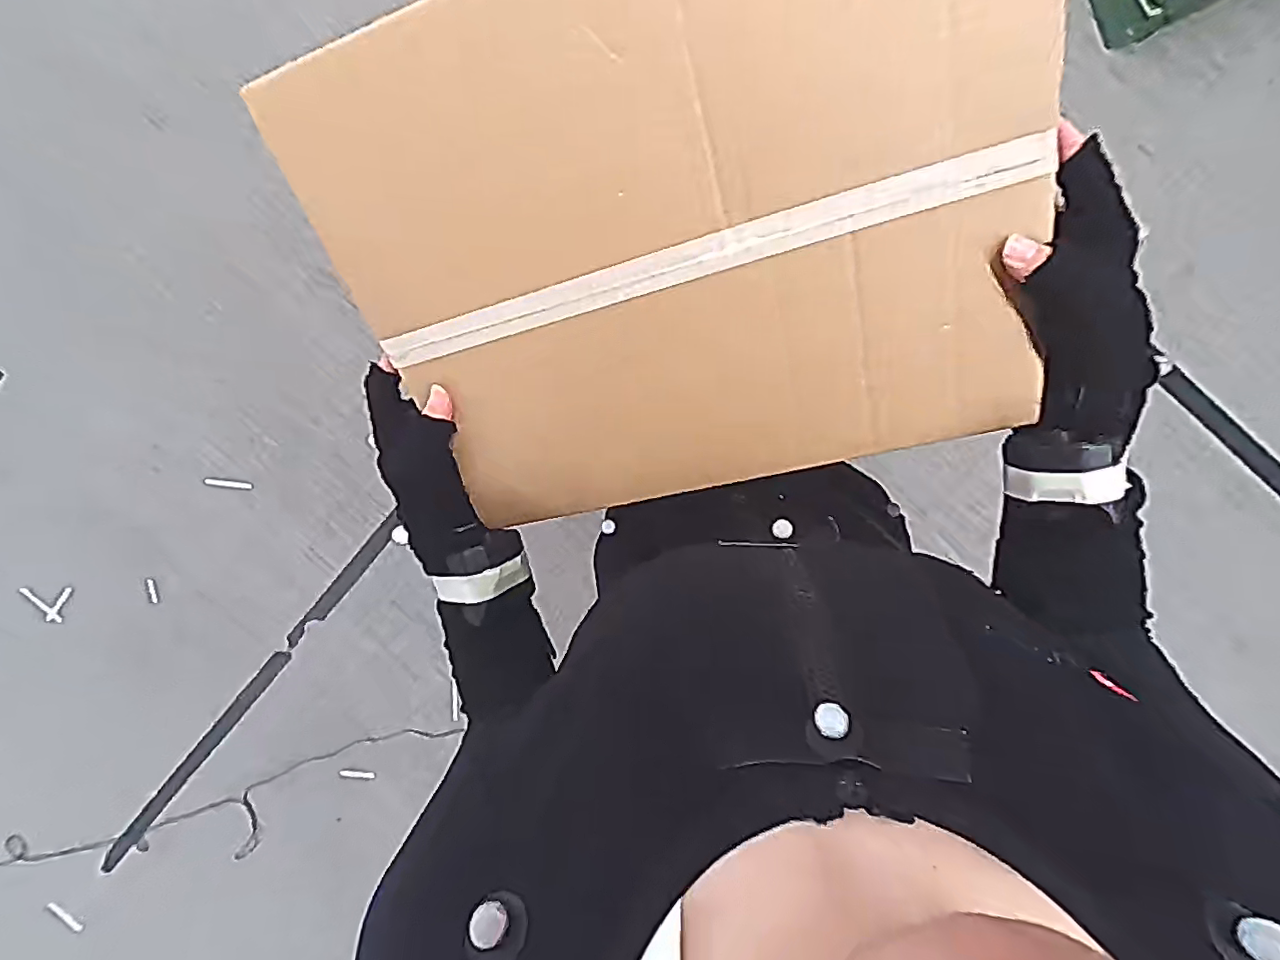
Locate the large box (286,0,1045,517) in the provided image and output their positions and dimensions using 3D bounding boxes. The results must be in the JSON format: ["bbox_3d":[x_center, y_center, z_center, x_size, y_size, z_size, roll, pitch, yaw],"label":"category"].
[{"bbox_3d":[0.037,-0.211,0.461,0.408,0.320,0.320,-11,121,14],"label":"large box"}]
